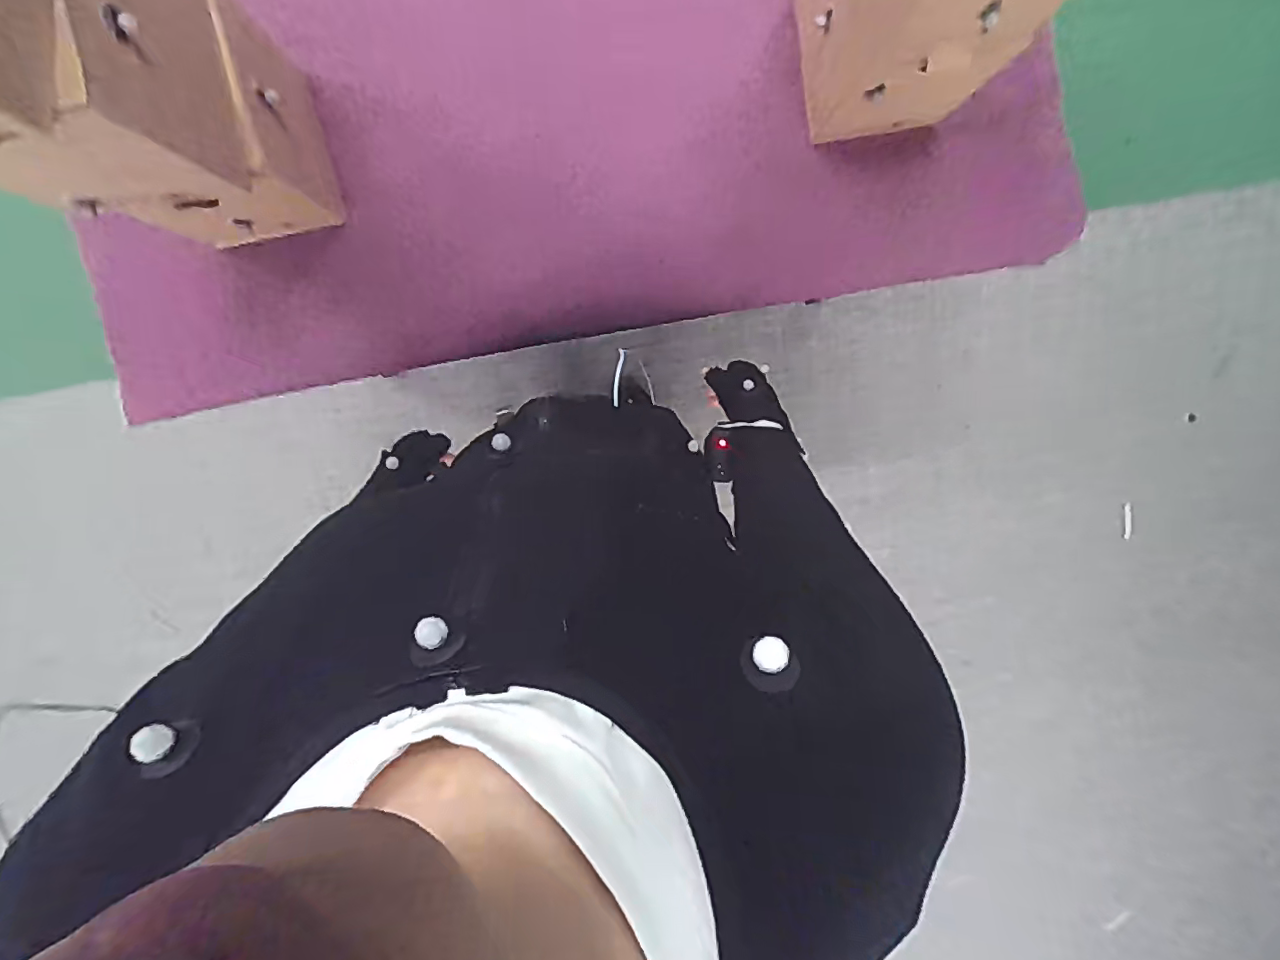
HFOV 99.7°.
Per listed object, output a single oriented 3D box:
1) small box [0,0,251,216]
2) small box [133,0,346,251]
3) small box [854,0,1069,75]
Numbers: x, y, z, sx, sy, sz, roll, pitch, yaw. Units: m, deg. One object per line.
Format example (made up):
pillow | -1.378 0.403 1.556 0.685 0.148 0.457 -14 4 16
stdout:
small box | -0.453 -0.324 0.427 0.168 0.176 0.179 -8 100 -2
small box | -0.457 -0.371 0.586 0.168 0.176 0.179 -12 101 -1
small box | 0.280 -0.479 0.434 0.168 0.176 0.179 -13 100 0
